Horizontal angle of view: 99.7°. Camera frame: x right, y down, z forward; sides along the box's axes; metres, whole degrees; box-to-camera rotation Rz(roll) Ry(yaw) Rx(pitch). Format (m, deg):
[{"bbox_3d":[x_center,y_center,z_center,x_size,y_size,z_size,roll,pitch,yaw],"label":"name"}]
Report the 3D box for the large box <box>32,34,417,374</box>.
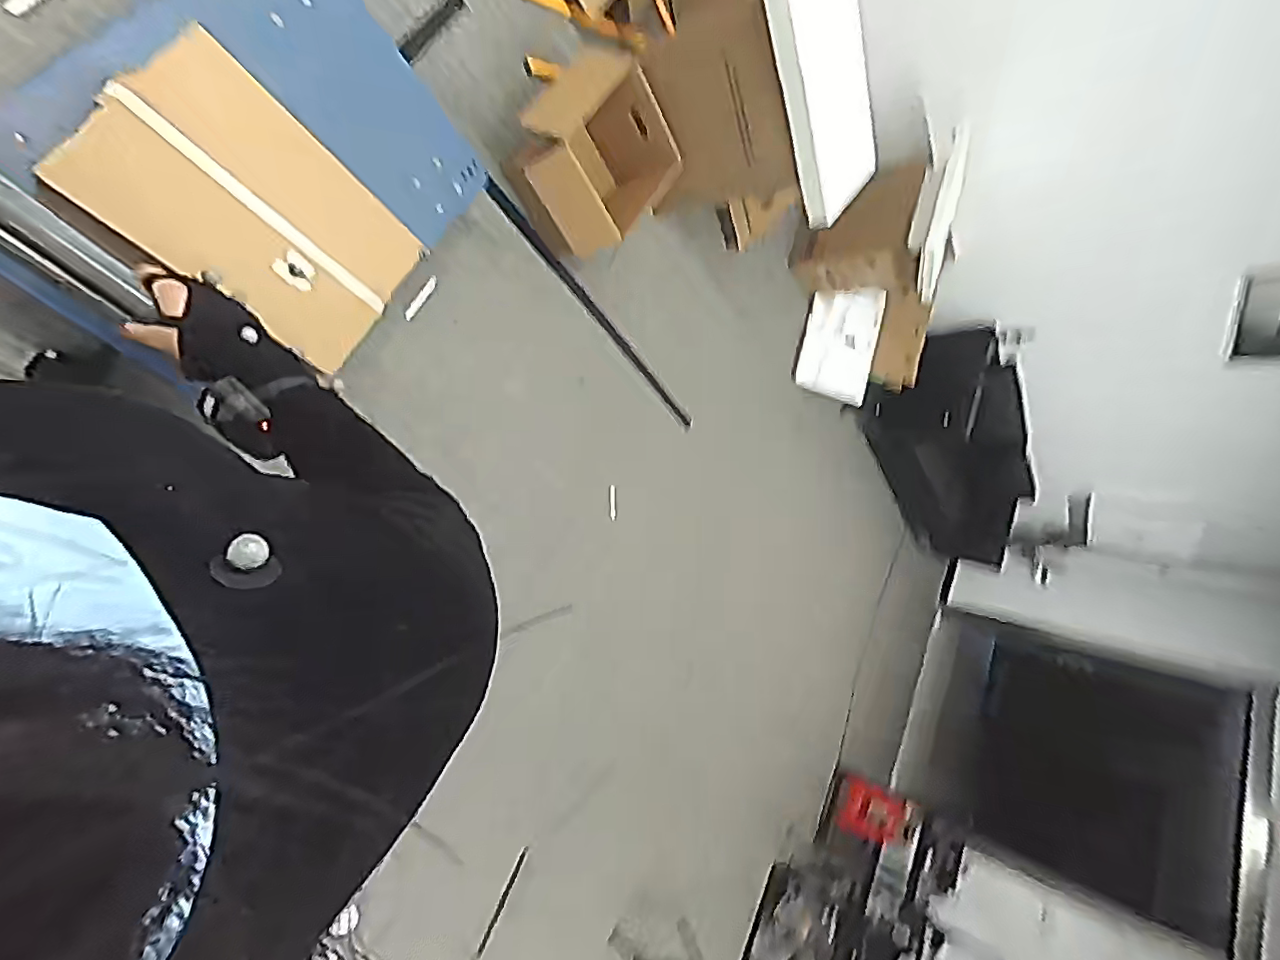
[{"bbox_3d":[-0.706,-0.431,0.955,0.408,0.320,0.320,45,65,-44],"label":"large box"}]
